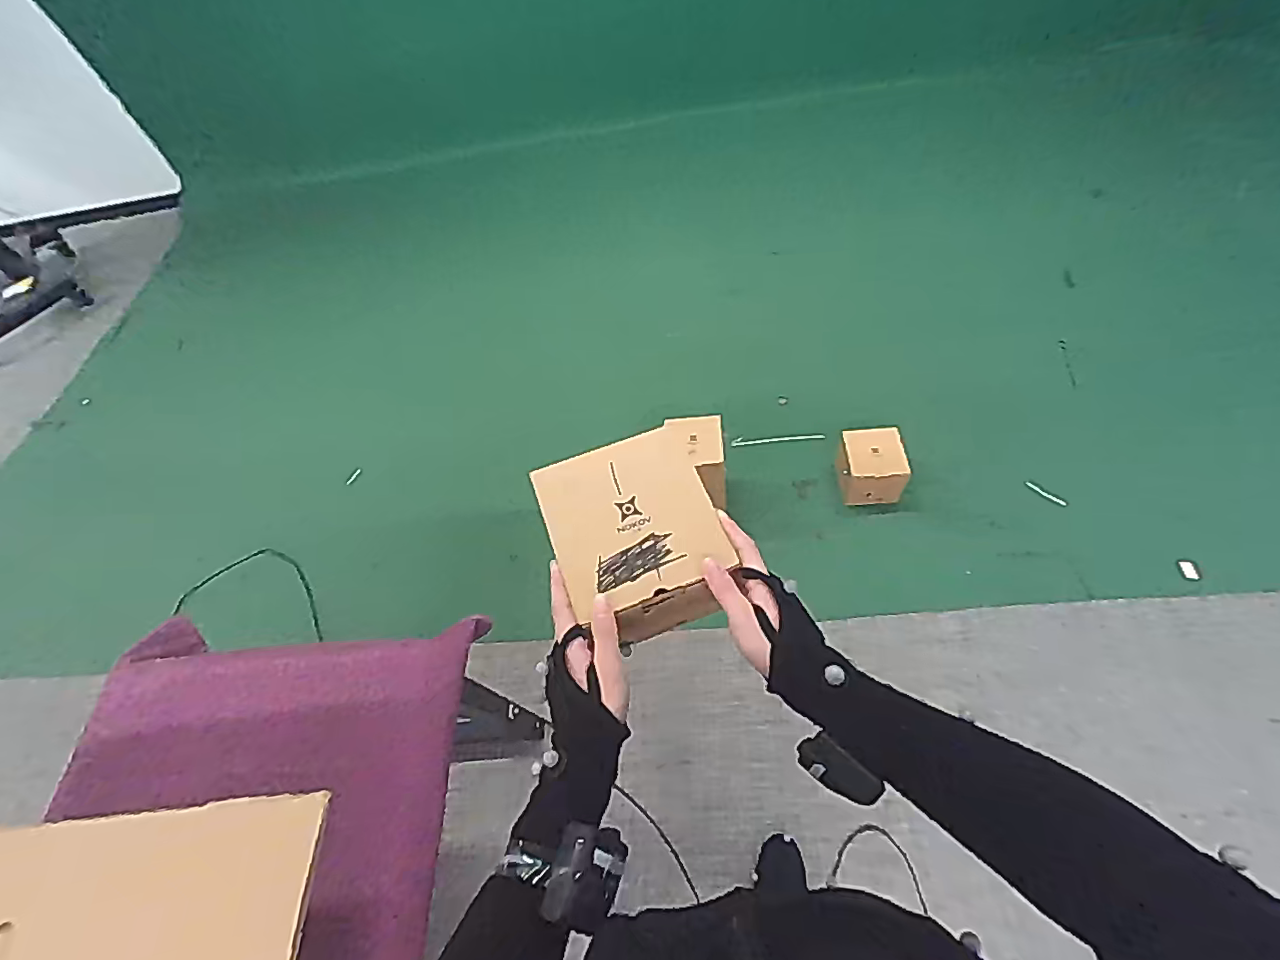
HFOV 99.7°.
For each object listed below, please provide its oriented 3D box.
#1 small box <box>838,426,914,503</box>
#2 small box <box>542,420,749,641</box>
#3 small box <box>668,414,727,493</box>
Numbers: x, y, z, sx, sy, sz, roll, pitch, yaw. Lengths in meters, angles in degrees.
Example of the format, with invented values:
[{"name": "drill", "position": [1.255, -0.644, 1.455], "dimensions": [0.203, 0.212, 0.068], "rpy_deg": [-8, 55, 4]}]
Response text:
[{"name": "small box", "position": [0.731, -0.047, 1.697], "dimensions": [0.168, 0.176, 0.179], "rpy_deg": [-4, 58, 7]}, {"name": "small box", "position": [0.006, 0.067, 0.606], "dimensions": [0.168, 0.176, 0.179], "rpy_deg": [-19, 63, -7]}, {"name": "small box", "position": [0.173, -0.074, 1.615], "dimensions": [0.168, 0.176, 0.179], "rpy_deg": [-4, 57, 9]}]
